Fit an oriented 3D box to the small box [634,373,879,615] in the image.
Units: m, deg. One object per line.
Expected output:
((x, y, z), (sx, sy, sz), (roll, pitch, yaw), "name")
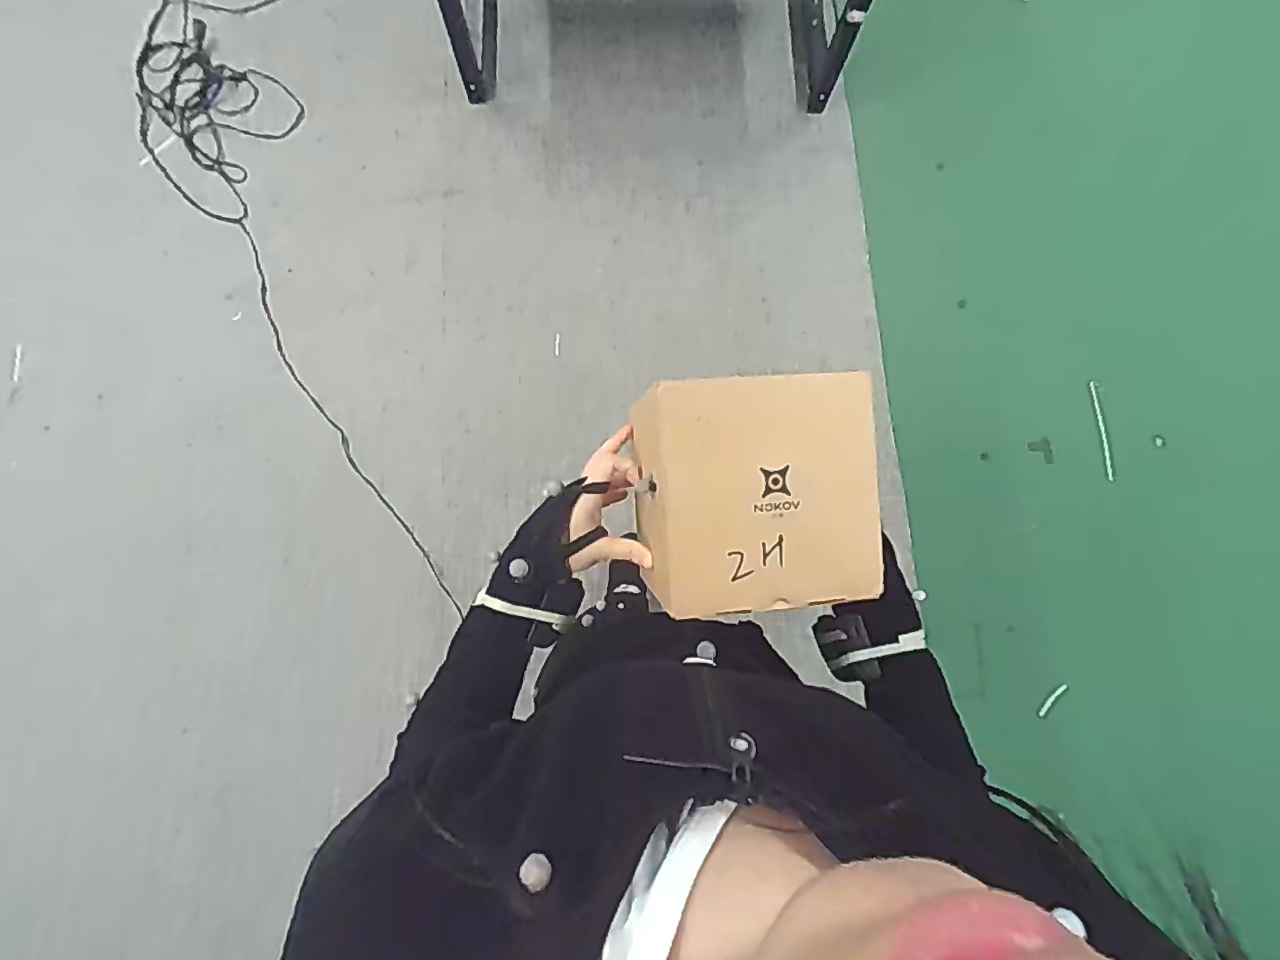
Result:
((0.088, 0.007, 0.483), (0.168, 0.176, 0.179), (-3, 92, -8), "small box")
